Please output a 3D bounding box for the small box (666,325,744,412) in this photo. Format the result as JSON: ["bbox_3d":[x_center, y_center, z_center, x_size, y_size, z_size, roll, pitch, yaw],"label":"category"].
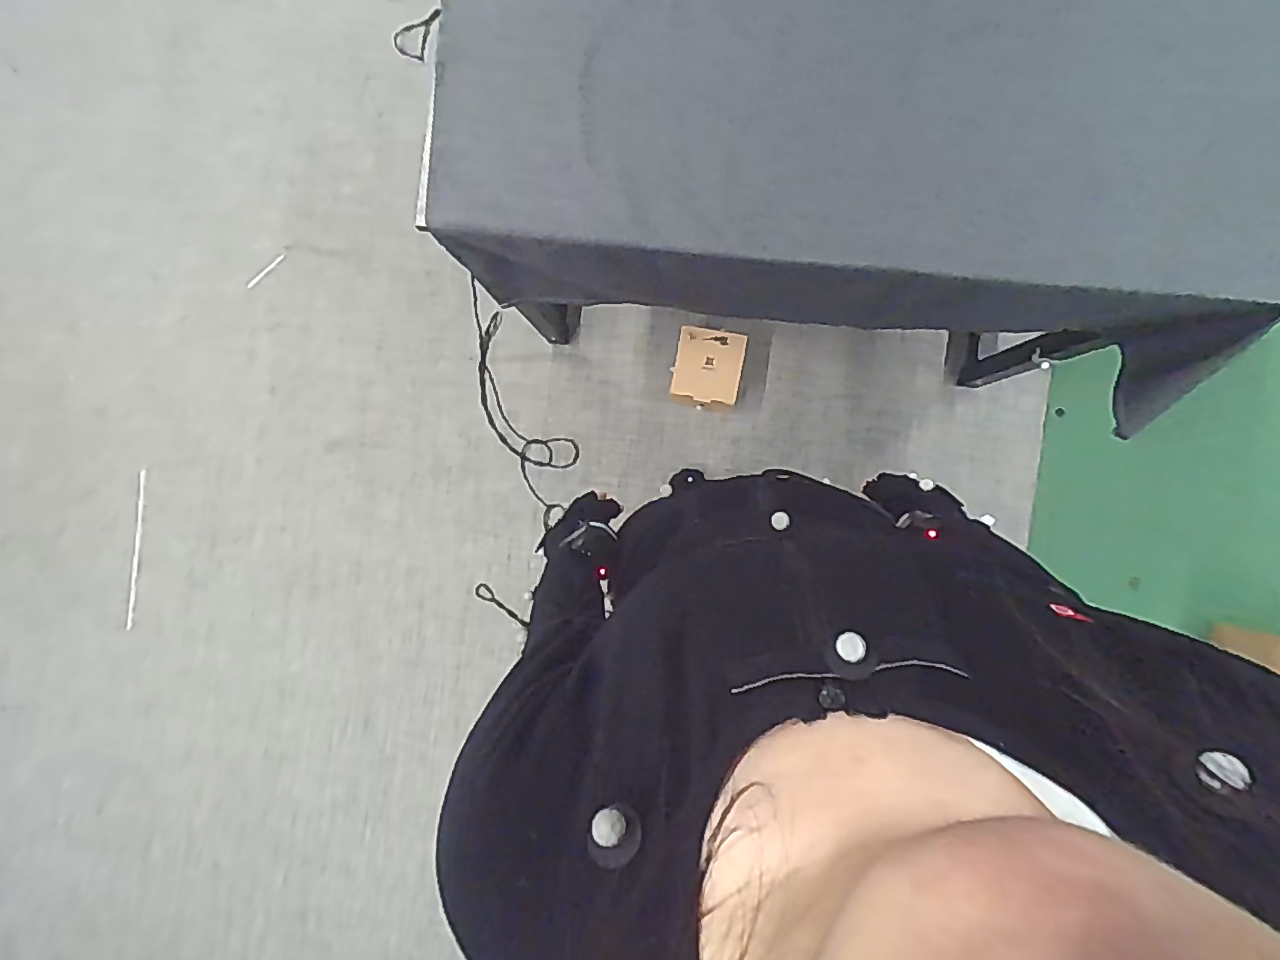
[{"bbox_3d":[0.166,-0.279,1.396,0.168,0.176,0.179,11,91,4],"label":"small box"}]

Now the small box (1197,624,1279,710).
[{"bbox_3d":[1.537,0.464,1.310,0.179,0.176,0.168,18,90,5],"label":"small box"}]
